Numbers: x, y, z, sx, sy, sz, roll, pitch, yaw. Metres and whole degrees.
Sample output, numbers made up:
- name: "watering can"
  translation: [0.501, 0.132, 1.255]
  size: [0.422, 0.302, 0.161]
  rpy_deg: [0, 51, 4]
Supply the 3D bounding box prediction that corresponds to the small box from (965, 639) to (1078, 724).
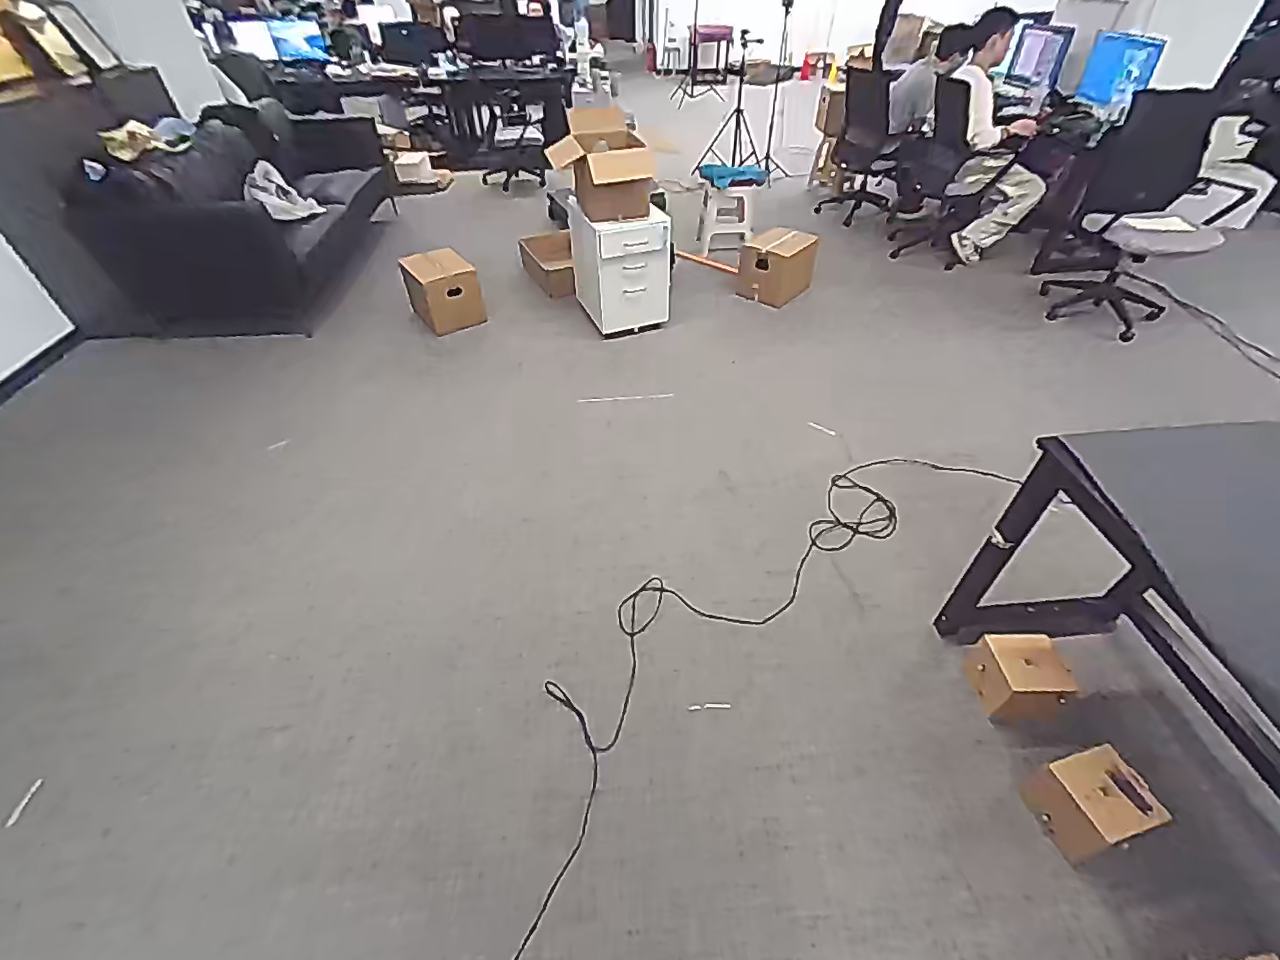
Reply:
- name: "small box"
  translation: [1.027, 0.553, 1.481]
  size: [0.179, 0.176, 0.168]
  rpy_deg: [0, 42, 0]
